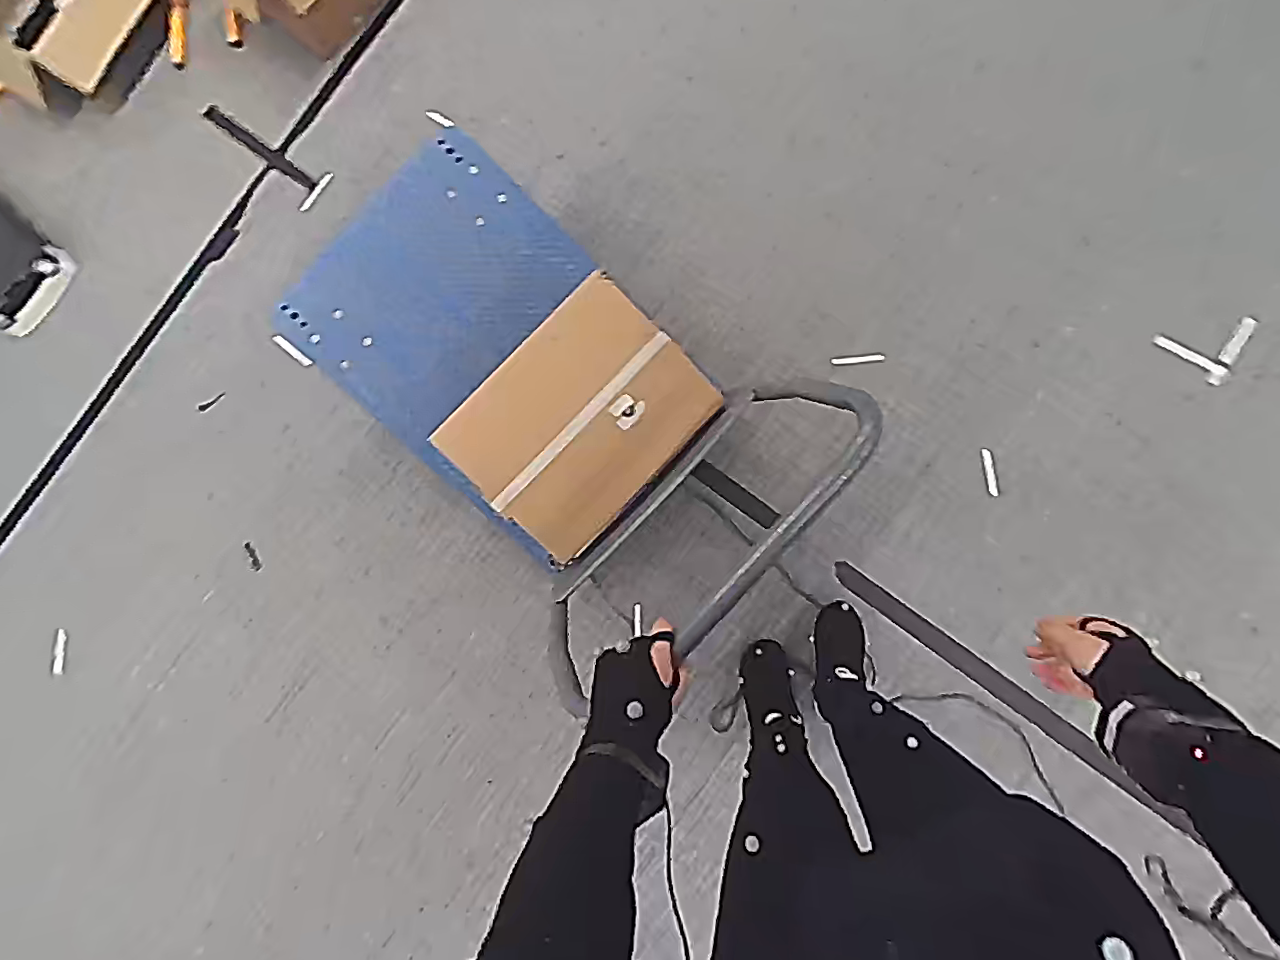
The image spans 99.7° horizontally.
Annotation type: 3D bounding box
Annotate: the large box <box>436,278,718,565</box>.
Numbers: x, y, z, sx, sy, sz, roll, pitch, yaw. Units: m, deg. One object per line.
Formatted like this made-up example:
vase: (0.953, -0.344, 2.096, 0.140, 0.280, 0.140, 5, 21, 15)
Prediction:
large box: (-0.119, -0.103, 1.071, 0.320, 0.320, 0.408, 44, 88, -8)
